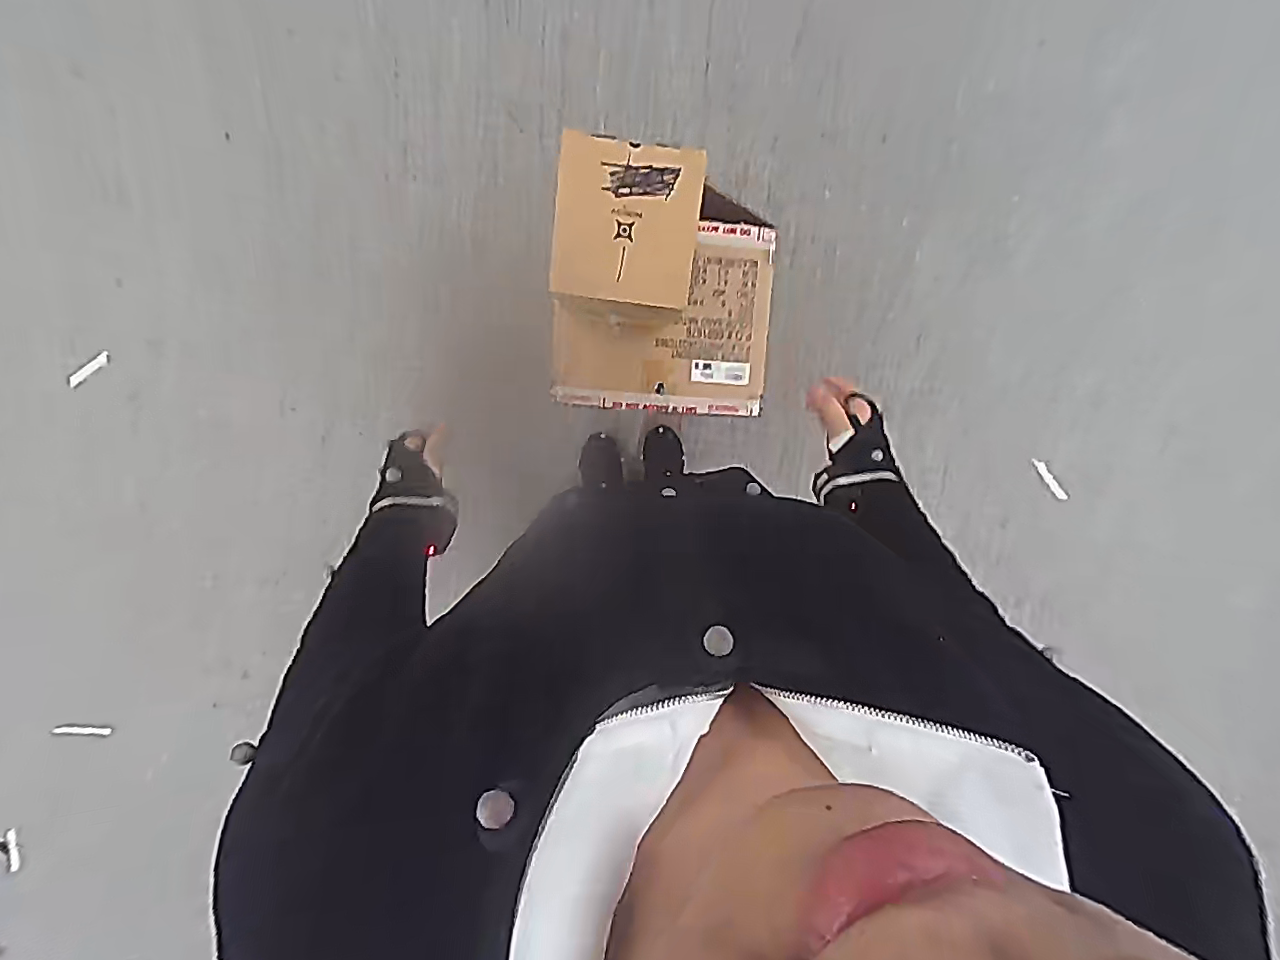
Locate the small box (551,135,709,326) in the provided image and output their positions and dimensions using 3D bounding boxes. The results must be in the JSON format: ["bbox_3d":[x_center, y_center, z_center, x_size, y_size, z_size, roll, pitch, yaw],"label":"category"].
[{"bbox_3d":[-0.016,-0.306,0.700,0.168,0.176,0.179,7,101,-3],"label":"small box"}]

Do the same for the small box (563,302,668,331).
[{"bbox_3d":[-0.029,-0.339,0.861,0.168,0.176,0.179,3,101,-2],"label":"small box"}]
